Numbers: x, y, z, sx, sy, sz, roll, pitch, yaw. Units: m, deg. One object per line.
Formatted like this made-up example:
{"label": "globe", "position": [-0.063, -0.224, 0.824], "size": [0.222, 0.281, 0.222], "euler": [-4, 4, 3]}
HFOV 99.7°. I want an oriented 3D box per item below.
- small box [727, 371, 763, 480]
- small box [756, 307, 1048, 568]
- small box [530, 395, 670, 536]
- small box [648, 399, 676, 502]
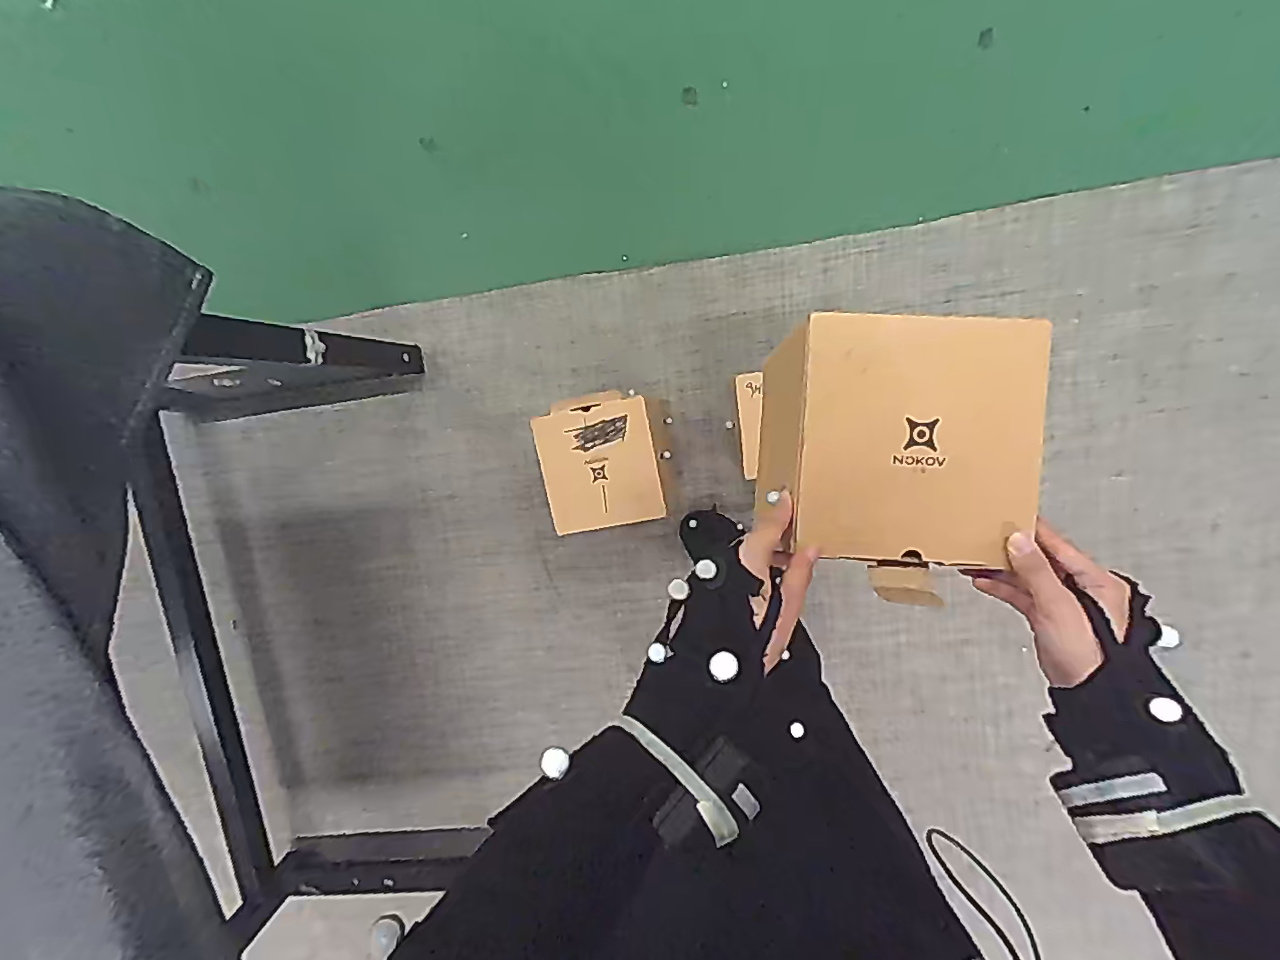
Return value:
{"label": "small box", "position": [0.246, -0.106, 0.952], "size": [0.168, 0.176, 0.179], "euler": [-6, 100, 6]}
{"label": "small box", "position": [0.195, -0.032, 0.452], "size": [0.168, 0.176, 0.179], "euler": [2, 92, 2]}
{"label": "small box", "position": [-0.051, -0.029, 0.828], "size": [0.168, 0.176, 0.179], "euler": [-11, 98, 8]}
{"label": "small box", "position": [-0.030, -0.047, 0.990], "size": [0.168, 0.176, 0.179], "euler": [-10, 98, 8]}
